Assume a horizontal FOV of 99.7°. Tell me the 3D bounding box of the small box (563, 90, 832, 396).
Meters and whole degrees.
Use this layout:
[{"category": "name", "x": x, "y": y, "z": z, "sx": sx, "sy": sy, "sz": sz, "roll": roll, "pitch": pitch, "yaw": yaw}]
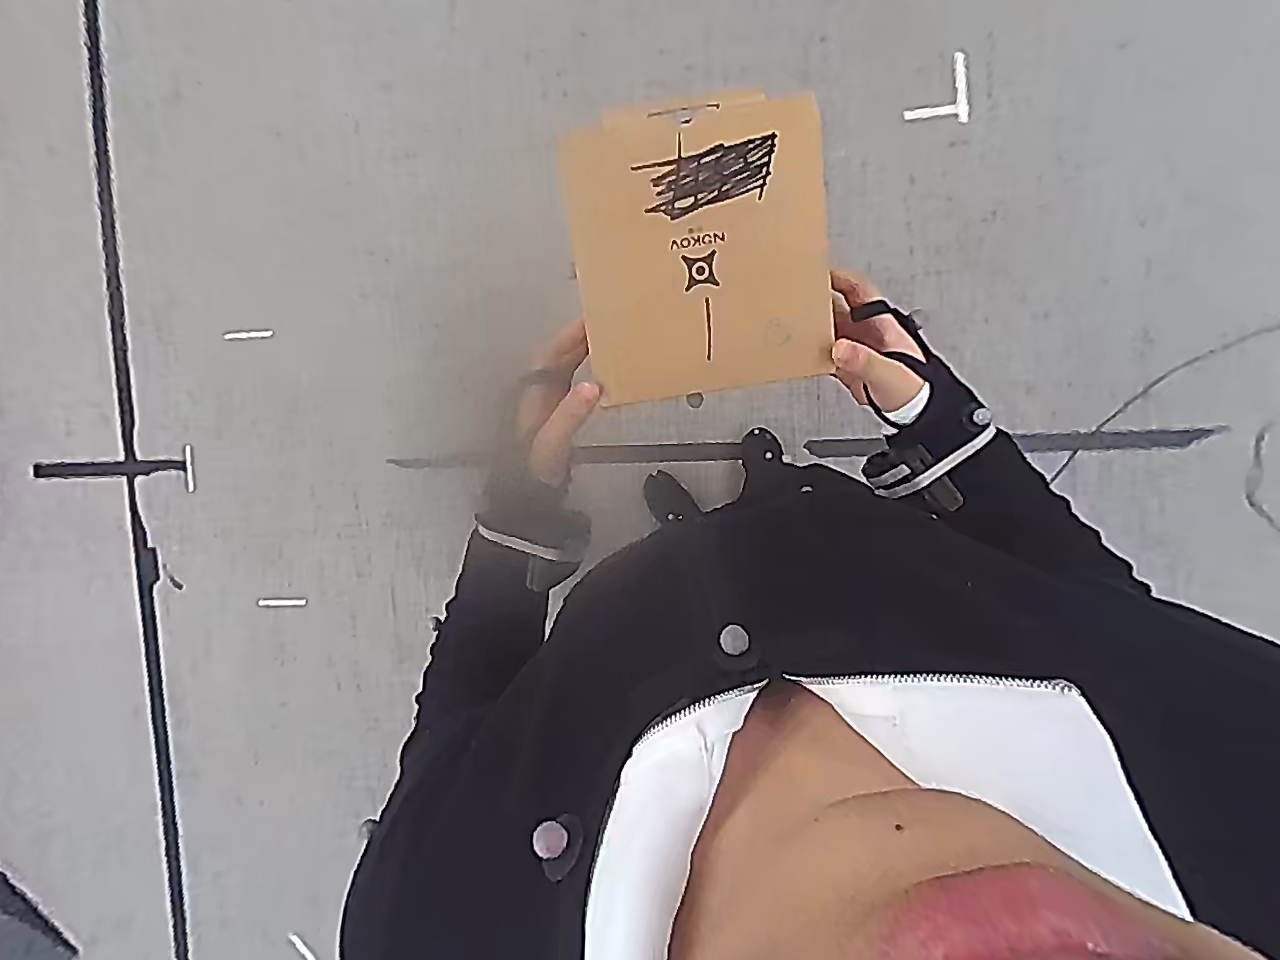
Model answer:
[{"category": "small box", "x": 0.041, "y": -0.165, "z": 0.434, "sx": 0.168, "sy": 0.176, "sz": 0.179, "roll": -7, "pitch": 101, "yaw": 3}]
